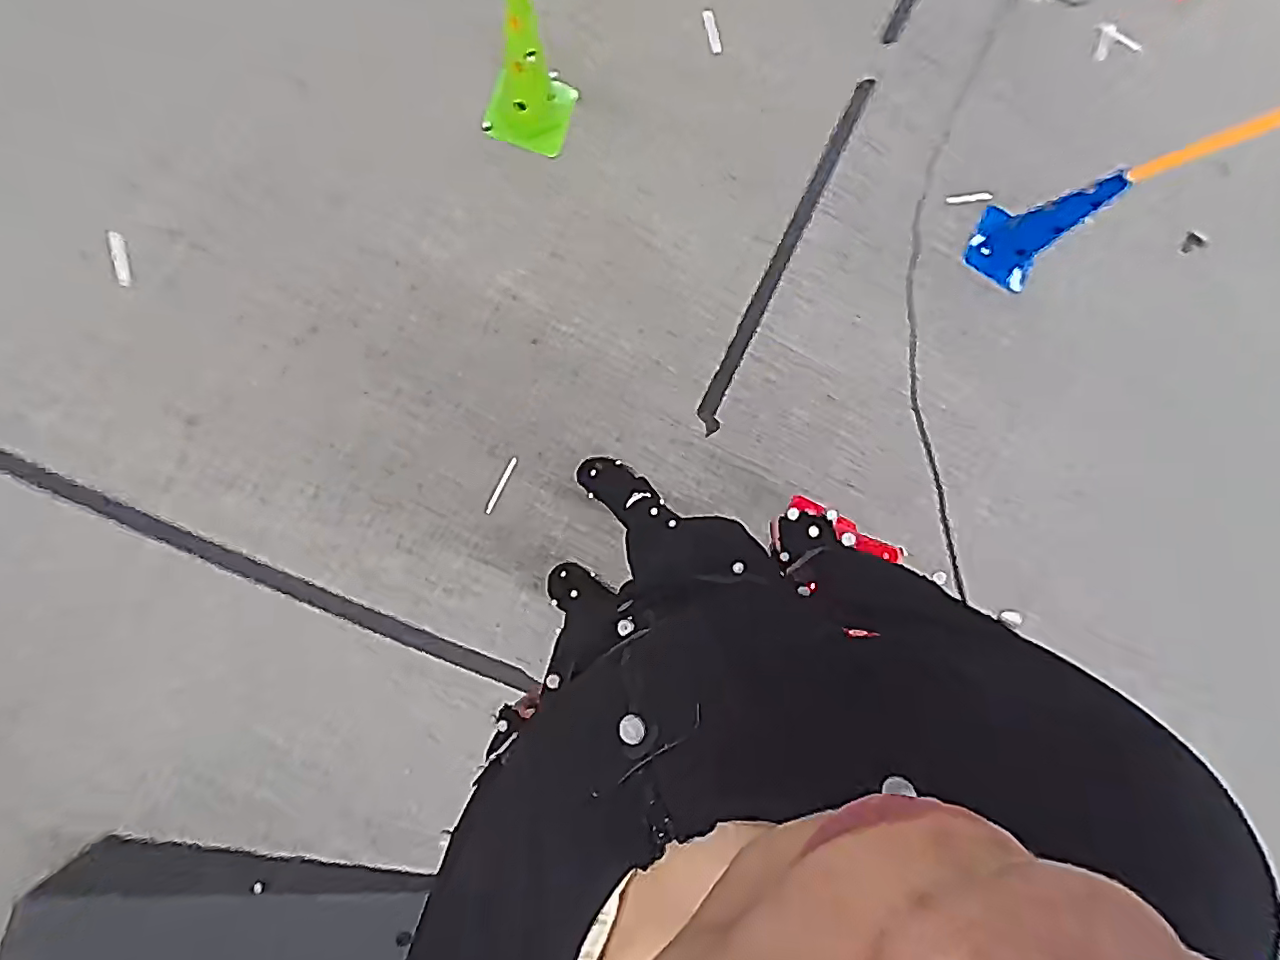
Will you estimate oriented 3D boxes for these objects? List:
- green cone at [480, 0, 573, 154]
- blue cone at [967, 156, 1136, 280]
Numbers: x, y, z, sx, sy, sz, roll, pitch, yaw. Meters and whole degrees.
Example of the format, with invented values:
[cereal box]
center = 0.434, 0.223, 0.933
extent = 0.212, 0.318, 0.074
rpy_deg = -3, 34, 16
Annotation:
[green cone]
center = -0.262, -0.959, 1.212
extent = 0.200, 0.368, 0.202
rpy_deg = 15, 83, -7
[blue cone]
center = 1.064, -0.691, 1.392
extent = 0.193, 0.380, 0.192
rpy_deg = 29, 83, -6
